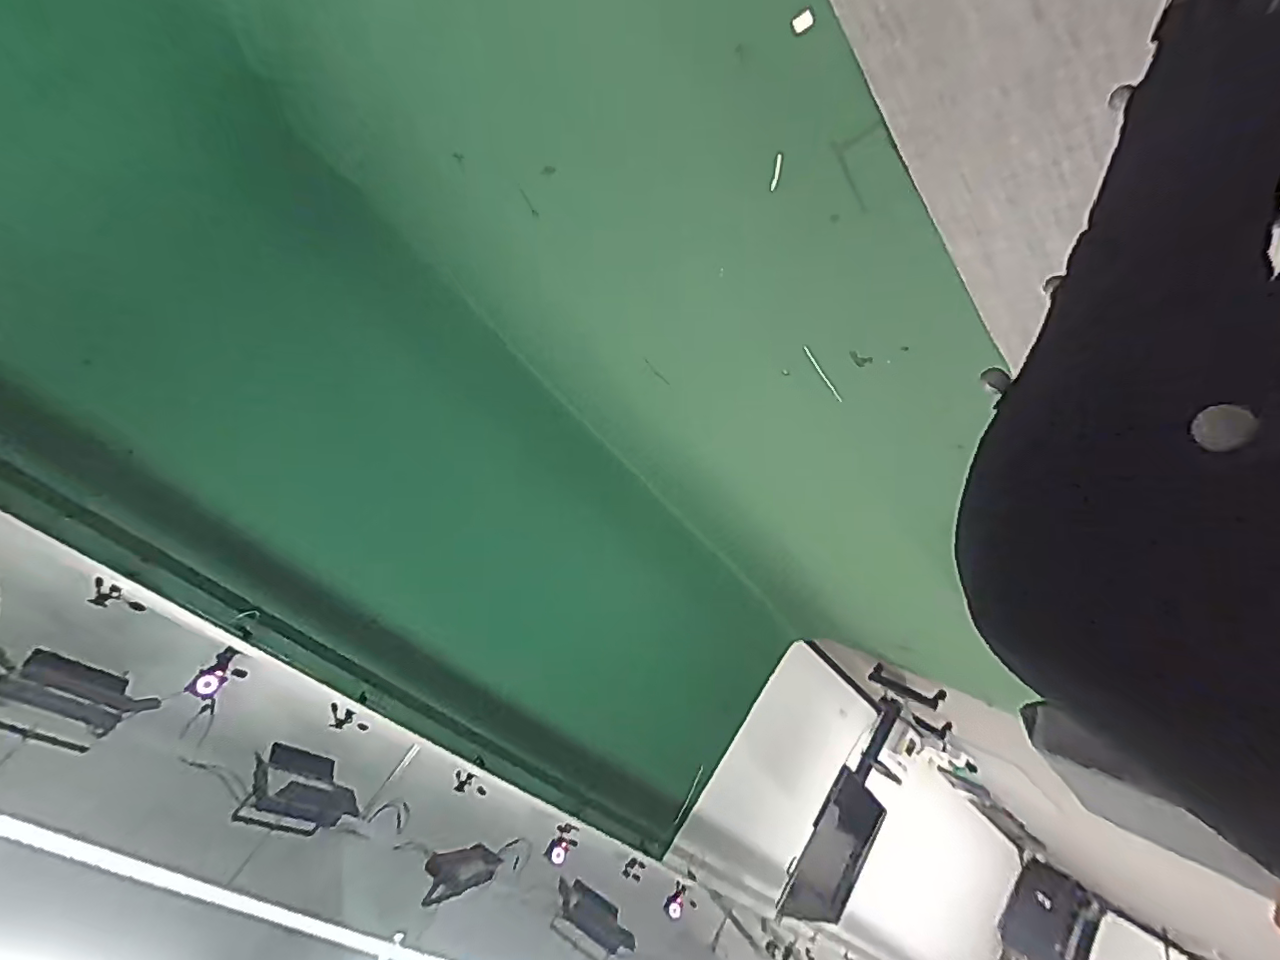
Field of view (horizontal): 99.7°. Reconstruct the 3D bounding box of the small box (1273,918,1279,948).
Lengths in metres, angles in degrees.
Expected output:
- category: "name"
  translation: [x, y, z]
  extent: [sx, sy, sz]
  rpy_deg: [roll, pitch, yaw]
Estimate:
- category: "small box"
  translation: [1.782, 1.180, 1.380]
  extent: [0.168, 0.176, 0.179]
  rpy_deg: [43, 162, -24]
